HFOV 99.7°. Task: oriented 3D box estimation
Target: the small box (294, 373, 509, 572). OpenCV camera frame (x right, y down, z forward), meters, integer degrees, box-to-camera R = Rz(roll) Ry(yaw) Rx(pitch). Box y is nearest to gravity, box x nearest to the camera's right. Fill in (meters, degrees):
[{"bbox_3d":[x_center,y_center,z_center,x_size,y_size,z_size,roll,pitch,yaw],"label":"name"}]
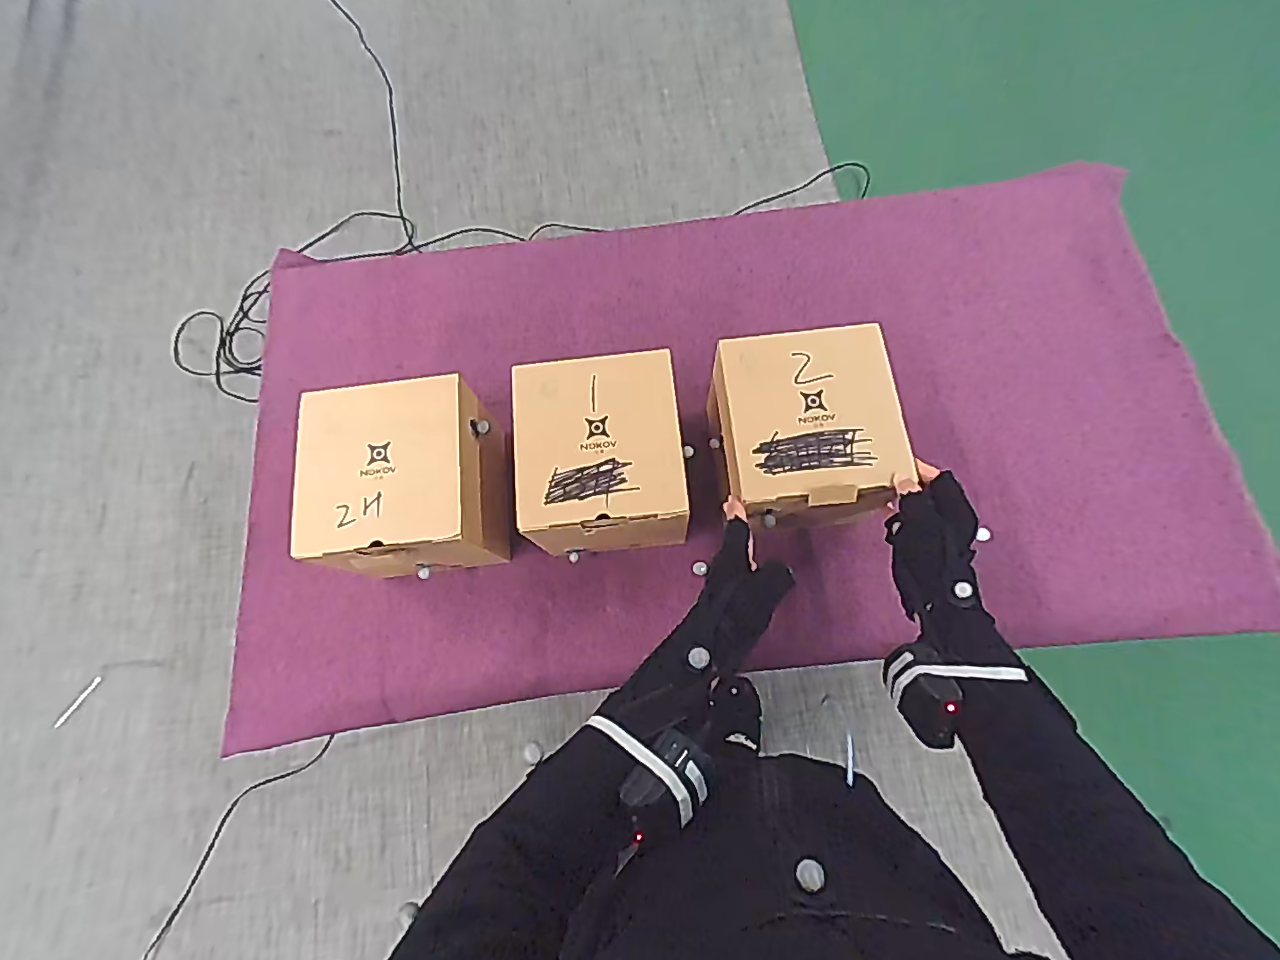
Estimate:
[{"bbox_3d":[-0.254,0.002,0.615,0.168,0.176,0.179,-7,74,1],"label":"small box"}]
